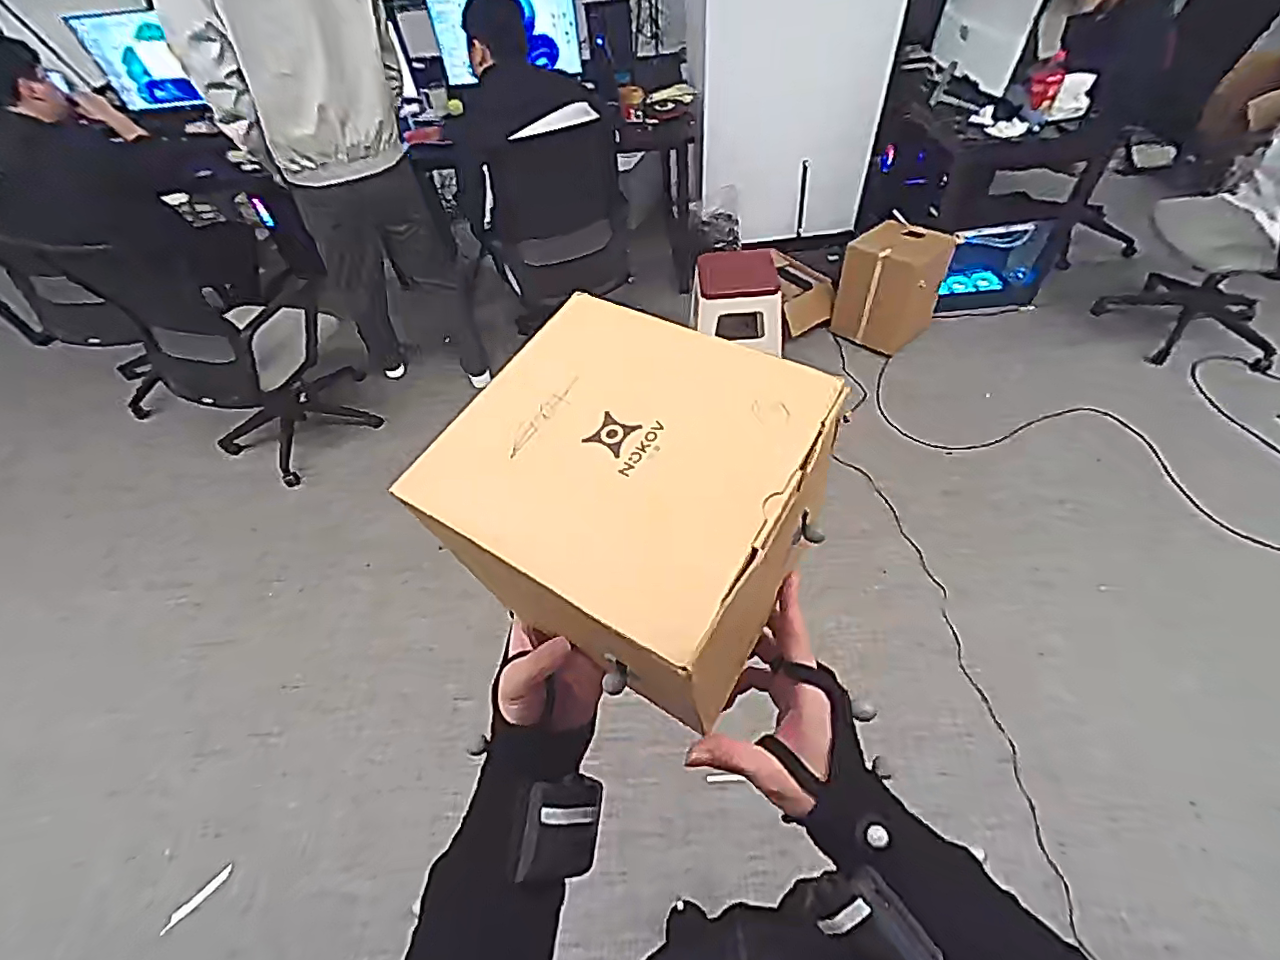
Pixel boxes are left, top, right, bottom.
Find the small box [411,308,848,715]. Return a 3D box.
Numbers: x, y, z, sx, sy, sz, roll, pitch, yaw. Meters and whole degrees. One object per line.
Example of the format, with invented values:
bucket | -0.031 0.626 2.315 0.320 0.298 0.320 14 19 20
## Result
small box | 0.005 0.027 0.346 0.179 0.176 0.168 25 64 23
